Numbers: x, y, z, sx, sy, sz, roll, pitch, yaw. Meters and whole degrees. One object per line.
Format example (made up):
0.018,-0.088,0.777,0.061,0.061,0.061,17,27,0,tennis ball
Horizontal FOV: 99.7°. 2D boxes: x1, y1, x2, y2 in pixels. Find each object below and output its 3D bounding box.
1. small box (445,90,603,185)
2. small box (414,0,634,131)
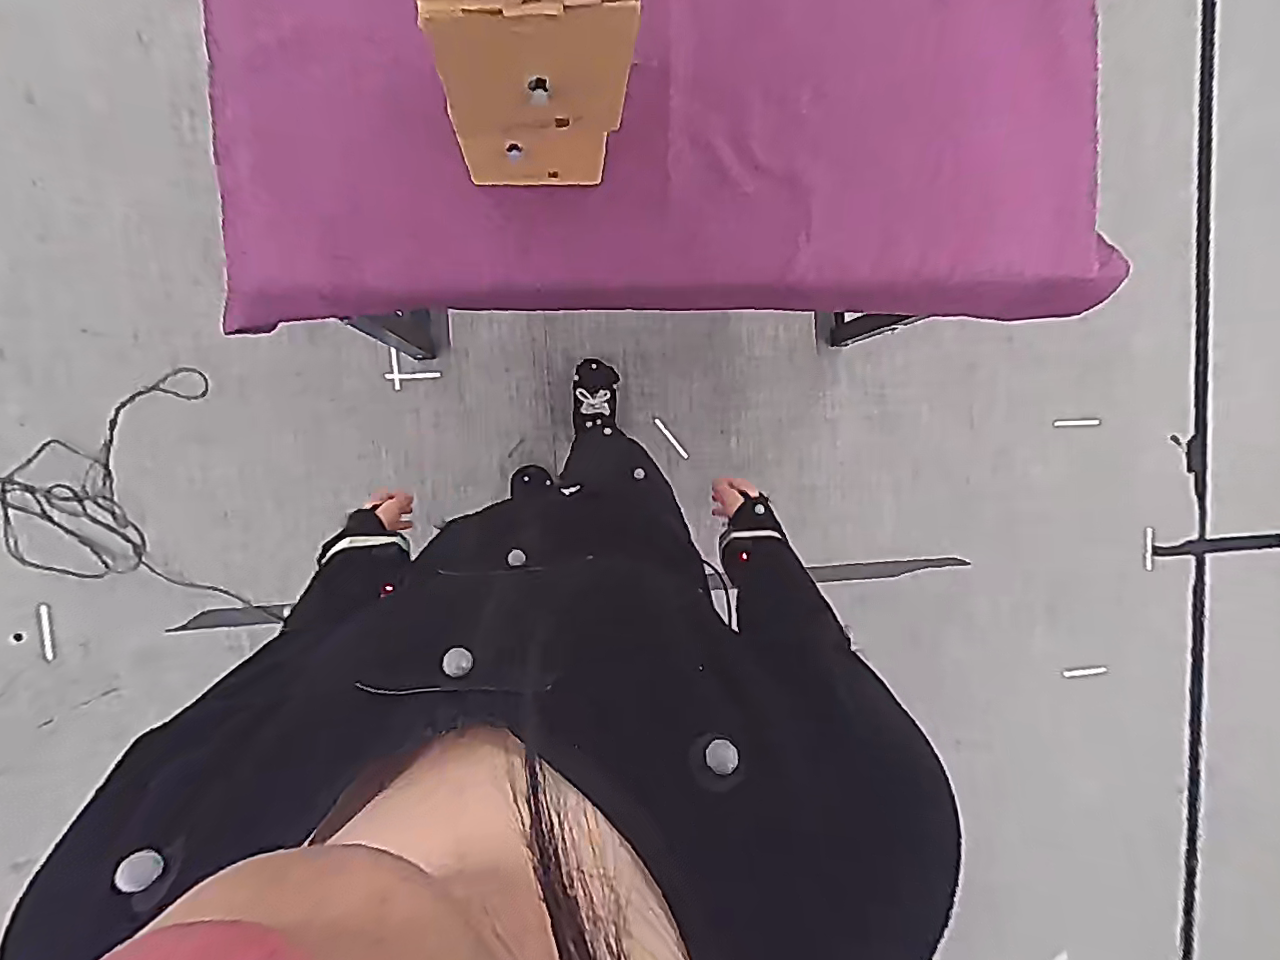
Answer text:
-0.130,-0.468,0.632,0.168,0.176,0.179,-4,95,-7,small box
-0.103,-0.434,0.472,0.168,0.176,0.179,-9,96,-7,small box
